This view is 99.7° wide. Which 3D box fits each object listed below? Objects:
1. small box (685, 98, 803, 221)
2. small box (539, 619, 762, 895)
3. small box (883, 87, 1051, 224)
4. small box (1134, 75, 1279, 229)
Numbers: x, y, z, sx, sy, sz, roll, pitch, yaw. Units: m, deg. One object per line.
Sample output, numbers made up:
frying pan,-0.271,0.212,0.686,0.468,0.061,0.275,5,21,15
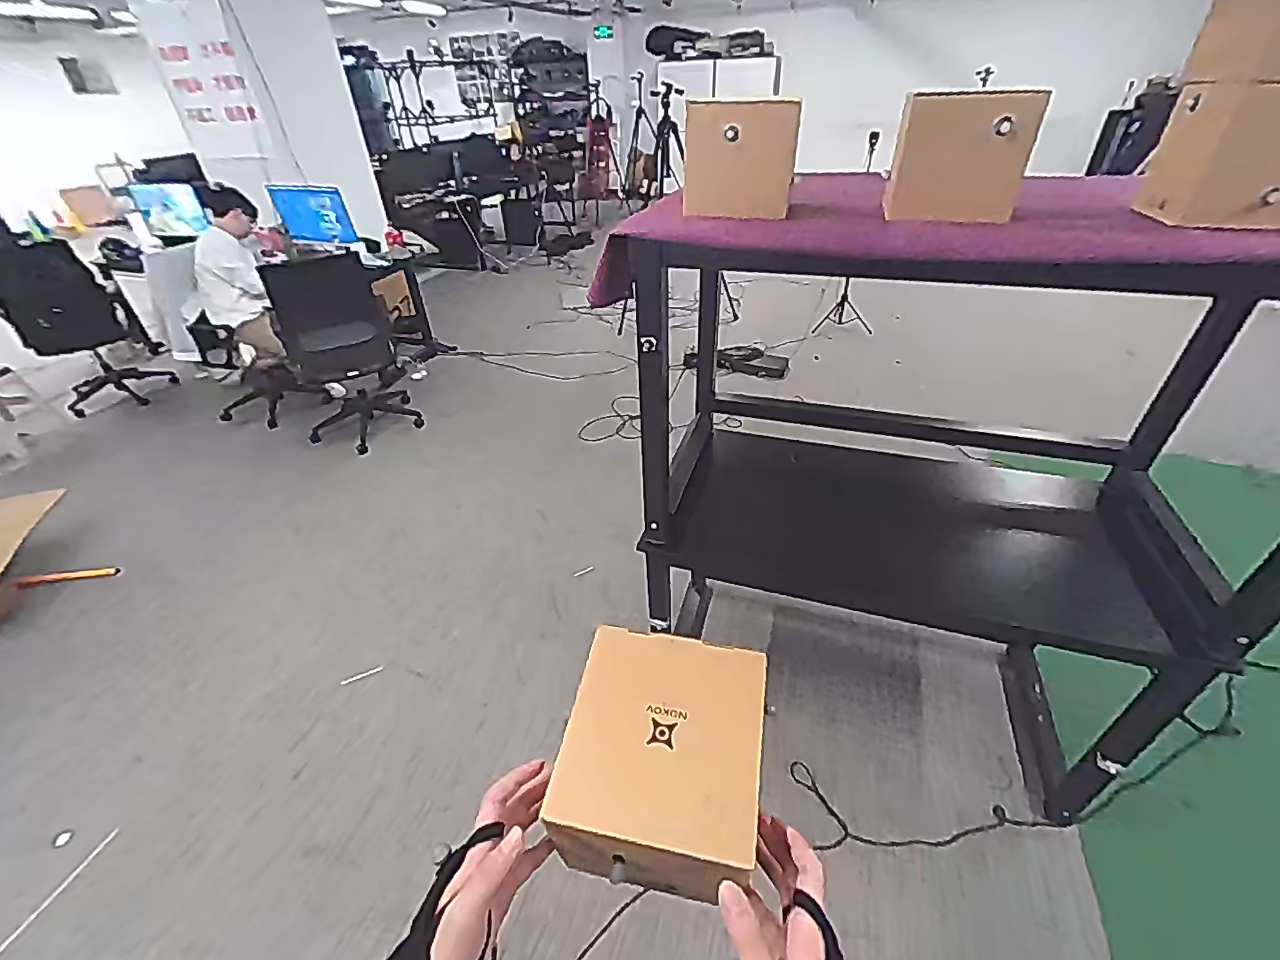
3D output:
small box,0.177,-0.552,0.933,0.179,0.176,0.168,8,38,13
small box,0.022,0.263,0.516,0.168,0.176,0.179,6,44,10
small box,0.495,-0.508,0.849,0.179,0.176,0.168,9,37,17
small box,0.848,-0.449,0.742,0.179,0.176,0.168,9,36,16
